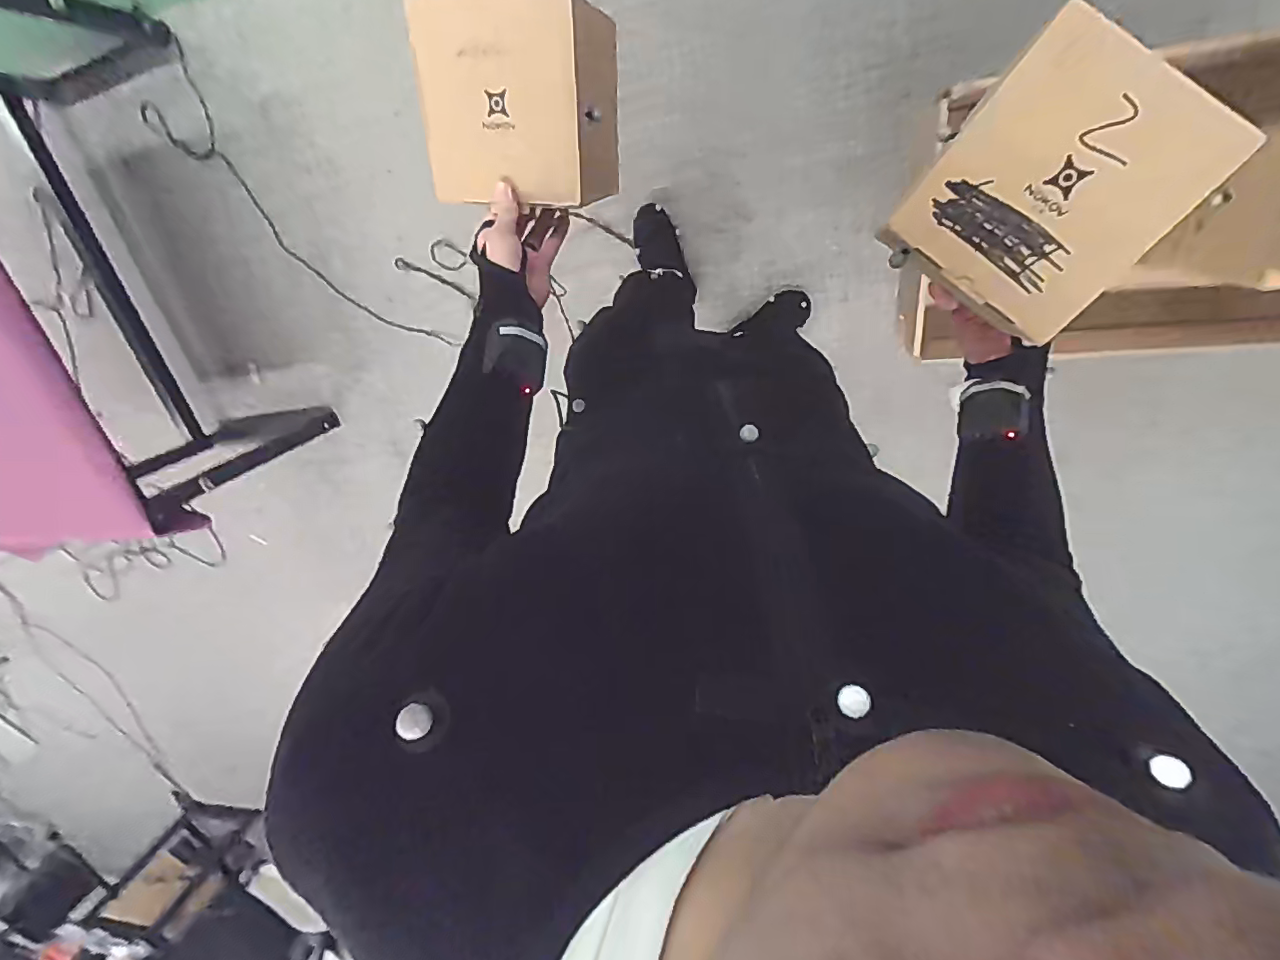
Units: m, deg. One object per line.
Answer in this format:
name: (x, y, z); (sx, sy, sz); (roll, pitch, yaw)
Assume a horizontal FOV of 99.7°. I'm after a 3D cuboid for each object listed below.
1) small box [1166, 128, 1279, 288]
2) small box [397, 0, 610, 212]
small box: (0.812, -0.339, 0.656); (0.179, 0.176, 0.168); (0, 117, 16)
small box: (-0.132, -0.408, 0.602); (0.168, 0.176, 0.179); (7, 123, 9)
